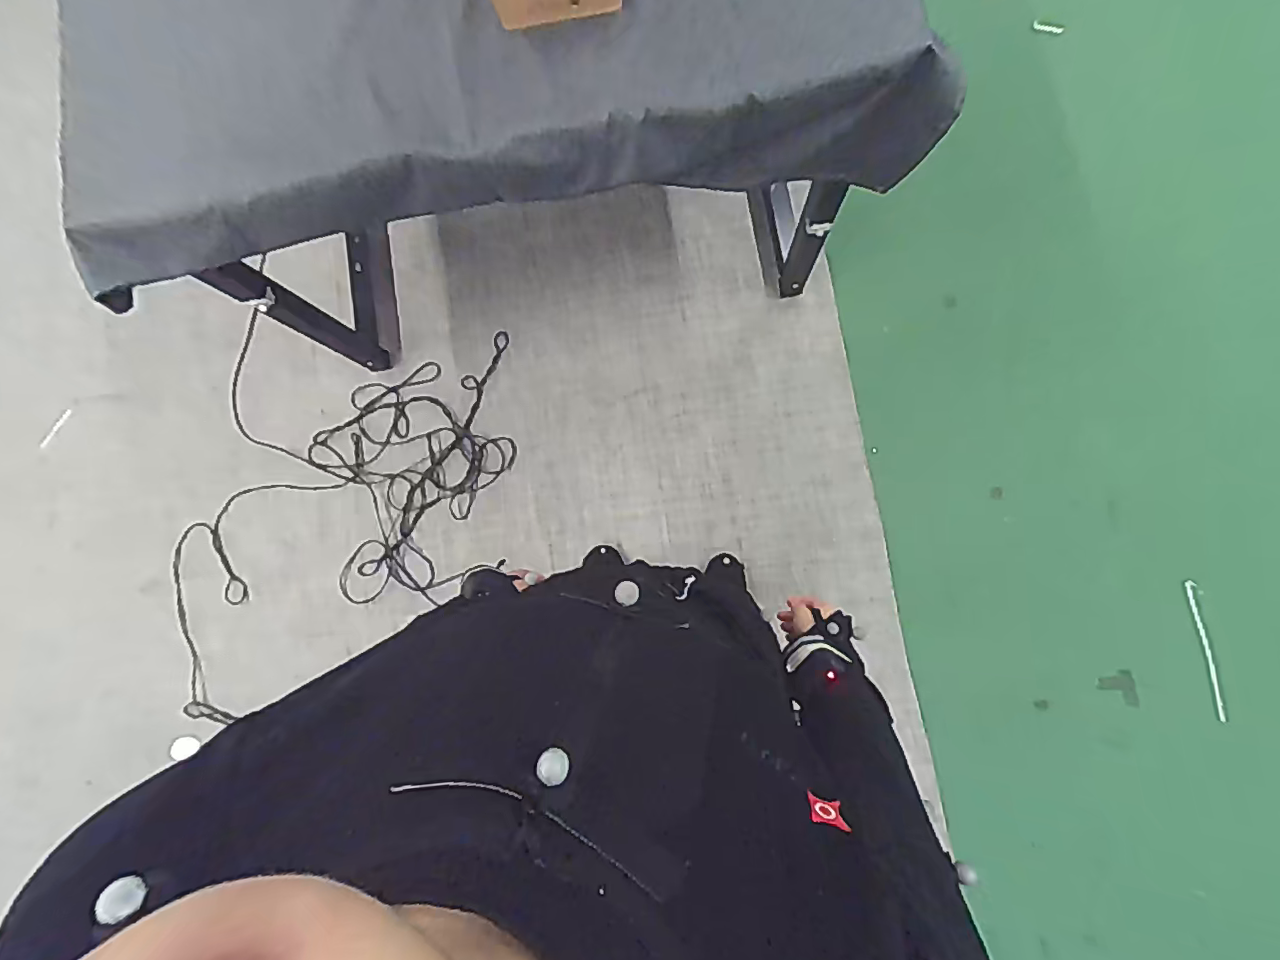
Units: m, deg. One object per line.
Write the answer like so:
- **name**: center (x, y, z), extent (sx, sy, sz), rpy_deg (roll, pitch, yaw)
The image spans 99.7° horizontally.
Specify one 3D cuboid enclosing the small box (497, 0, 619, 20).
- **small box**: center (-0.120, -0.715, 0.666), extent (0.168, 0.176, 0.179), rpy_deg (-7, 82, 3)
